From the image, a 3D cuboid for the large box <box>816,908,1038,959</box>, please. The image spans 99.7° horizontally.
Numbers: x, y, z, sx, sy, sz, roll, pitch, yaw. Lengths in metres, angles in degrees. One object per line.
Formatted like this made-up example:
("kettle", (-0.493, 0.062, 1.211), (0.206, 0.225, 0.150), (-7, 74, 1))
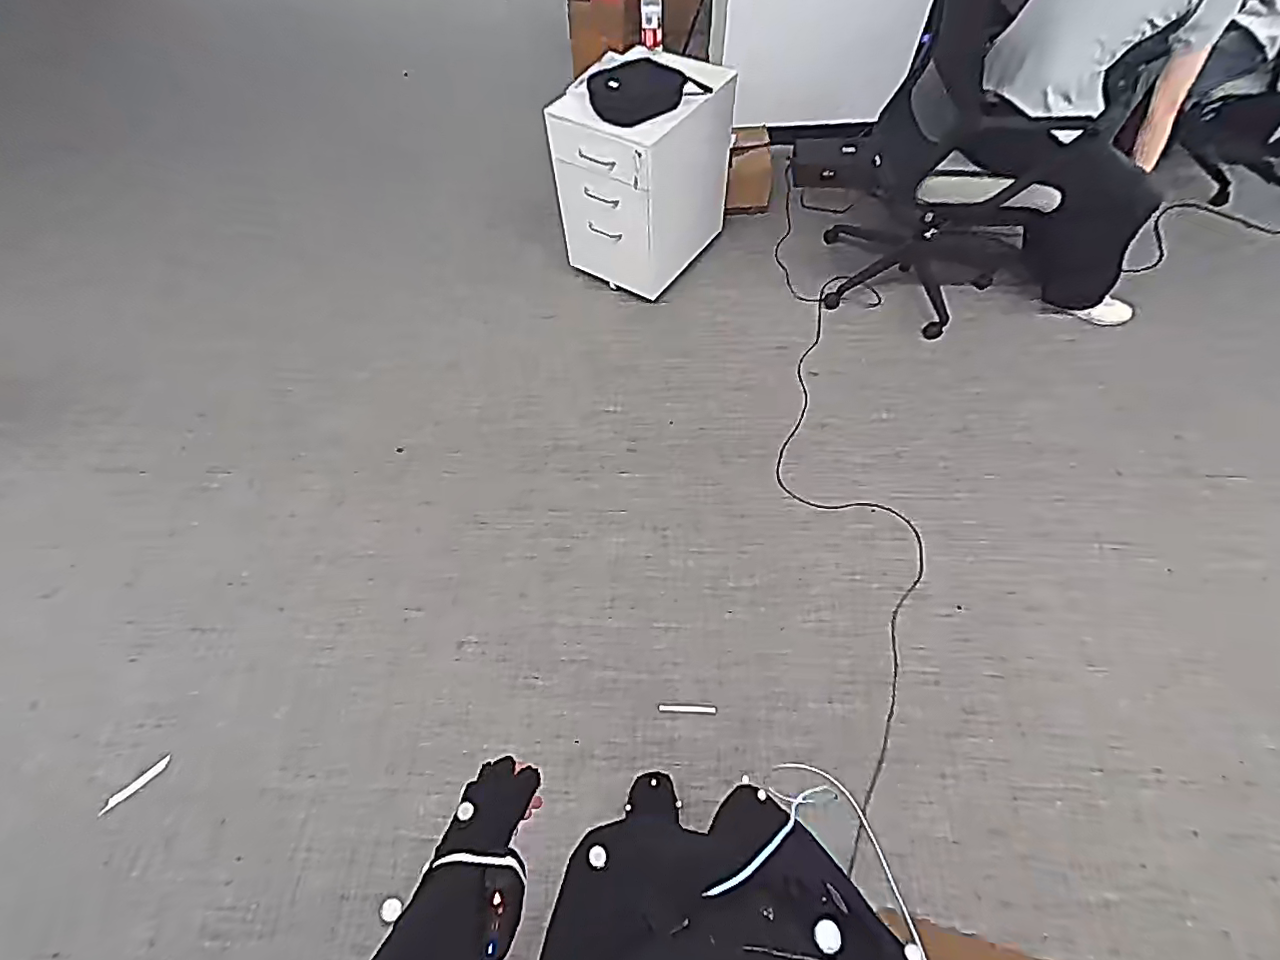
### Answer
("large box", (0.379, 0.779, 0.606), (0.320, 0.408, 0.320), (-20, 69, -24))
